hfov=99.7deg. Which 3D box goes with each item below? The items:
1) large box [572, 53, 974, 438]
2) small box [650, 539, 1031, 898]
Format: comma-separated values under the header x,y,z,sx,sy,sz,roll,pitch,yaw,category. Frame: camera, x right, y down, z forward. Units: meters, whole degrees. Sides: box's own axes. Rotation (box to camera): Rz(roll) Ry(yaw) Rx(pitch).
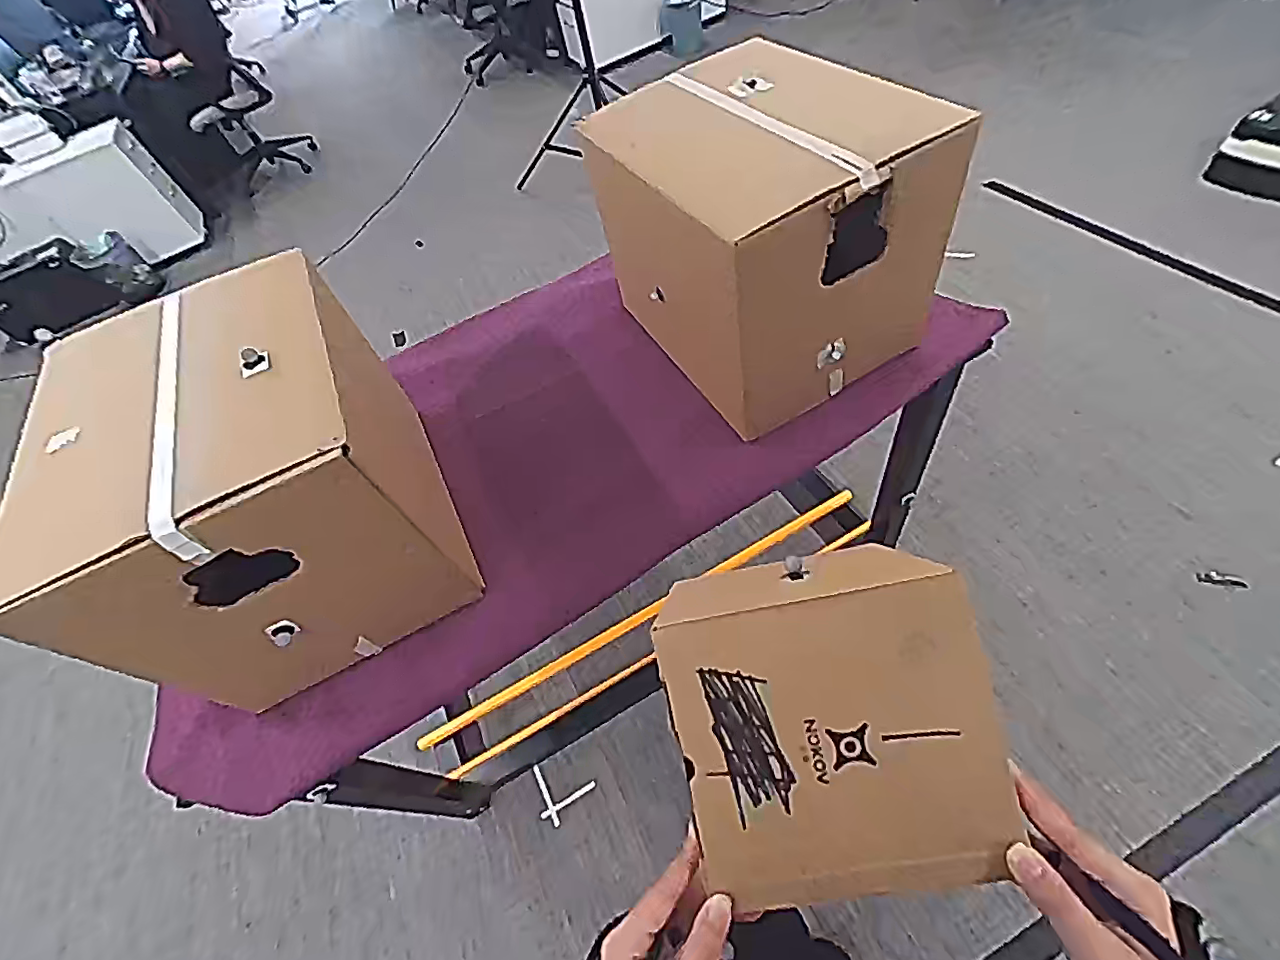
x,y,z,sx,sy,sz,roll,pitch,yaw,category
0.159,-0.337,0.773,0.320,0.320,0.408,-29,53,-8,large box
0.116,0.141,0.377,0.179,0.176,0.168,-13,87,7,small box
